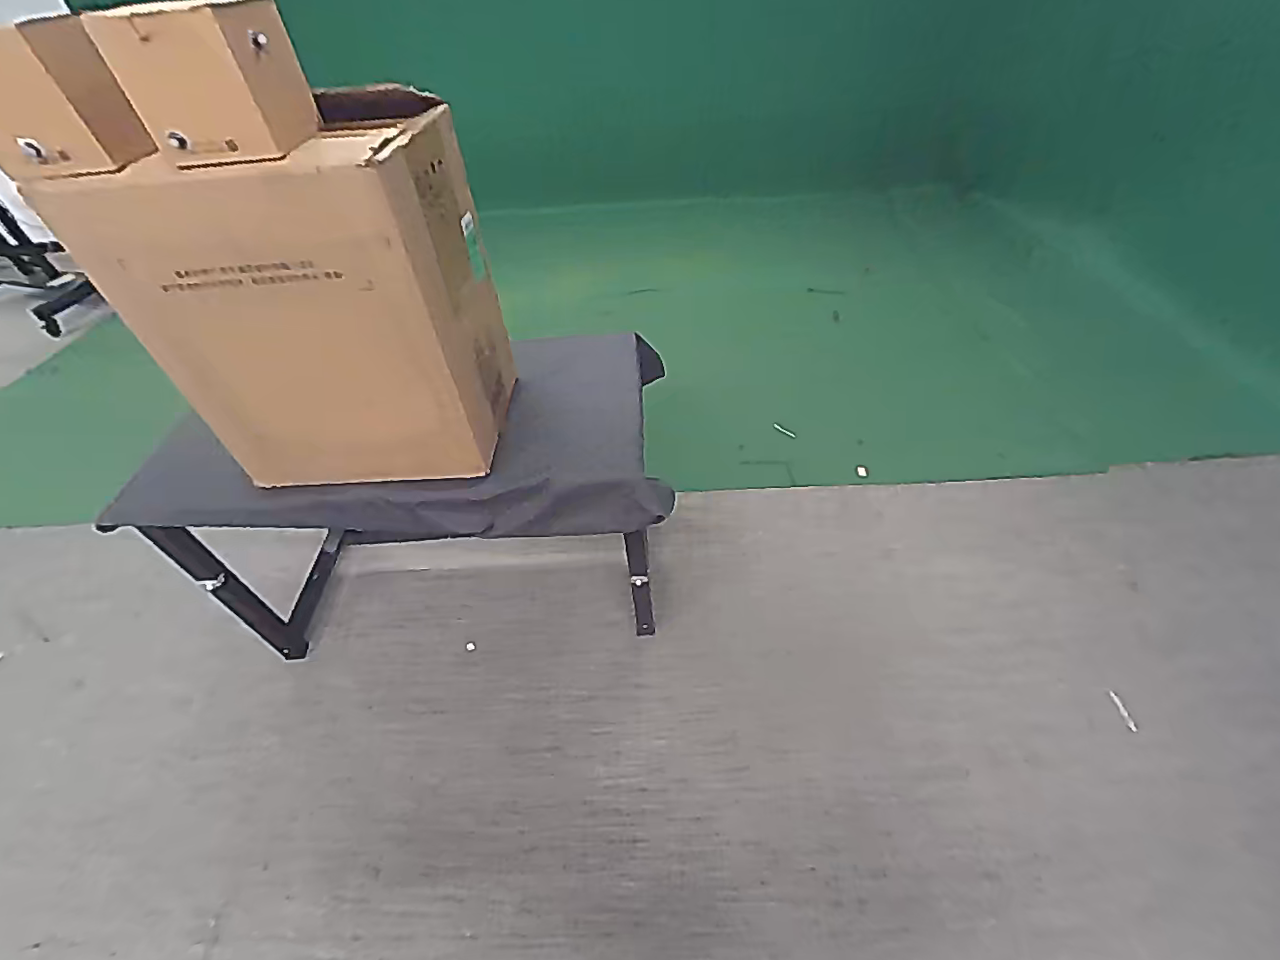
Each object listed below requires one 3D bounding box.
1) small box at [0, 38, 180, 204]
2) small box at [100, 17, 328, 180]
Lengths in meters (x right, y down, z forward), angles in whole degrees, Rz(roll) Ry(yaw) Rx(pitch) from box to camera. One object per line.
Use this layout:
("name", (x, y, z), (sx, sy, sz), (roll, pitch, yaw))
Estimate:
("small box", (-0.844, -0.537, 0.813), (0.168, 0.176, 0.179), (-7, 46, 3))
("small box", (-0.598, -0.553, 0.793), (0.168, 0.176, 0.179), (-5, 44, 1))
